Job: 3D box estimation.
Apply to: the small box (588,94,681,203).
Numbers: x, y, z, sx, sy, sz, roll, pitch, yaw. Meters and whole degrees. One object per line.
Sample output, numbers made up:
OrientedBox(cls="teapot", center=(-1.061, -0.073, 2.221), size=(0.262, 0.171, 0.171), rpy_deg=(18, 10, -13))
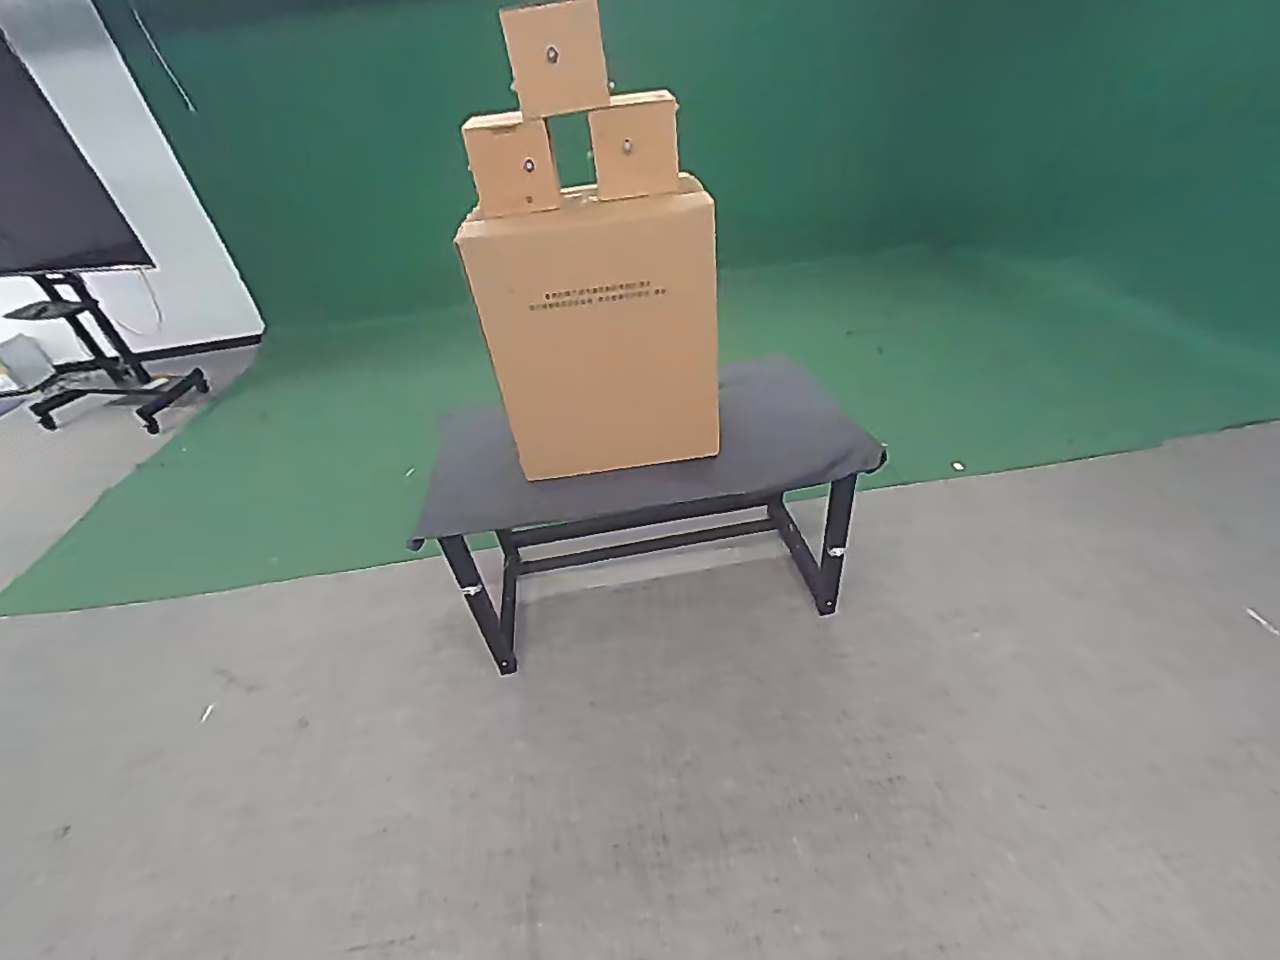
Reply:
OrientedBox(cls="small box", center=(-0.012, -0.718, 1.176), size=(0.179, 0.176, 0.168), rpy_deg=(-8, 41, 2))

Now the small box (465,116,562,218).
OrientedBox(cls="small box", center=(-0.266, -0.679, 1.176), size=(0.168, 0.176, 0.179), rpy_deg=(-7, 39, -1))

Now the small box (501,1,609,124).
OrientedBox(cls="small box", center=(-0.159, -0.823, 1.070), size=(0.179, 0.176, 0.168), rpy_deg=(-10, 40, 1))
